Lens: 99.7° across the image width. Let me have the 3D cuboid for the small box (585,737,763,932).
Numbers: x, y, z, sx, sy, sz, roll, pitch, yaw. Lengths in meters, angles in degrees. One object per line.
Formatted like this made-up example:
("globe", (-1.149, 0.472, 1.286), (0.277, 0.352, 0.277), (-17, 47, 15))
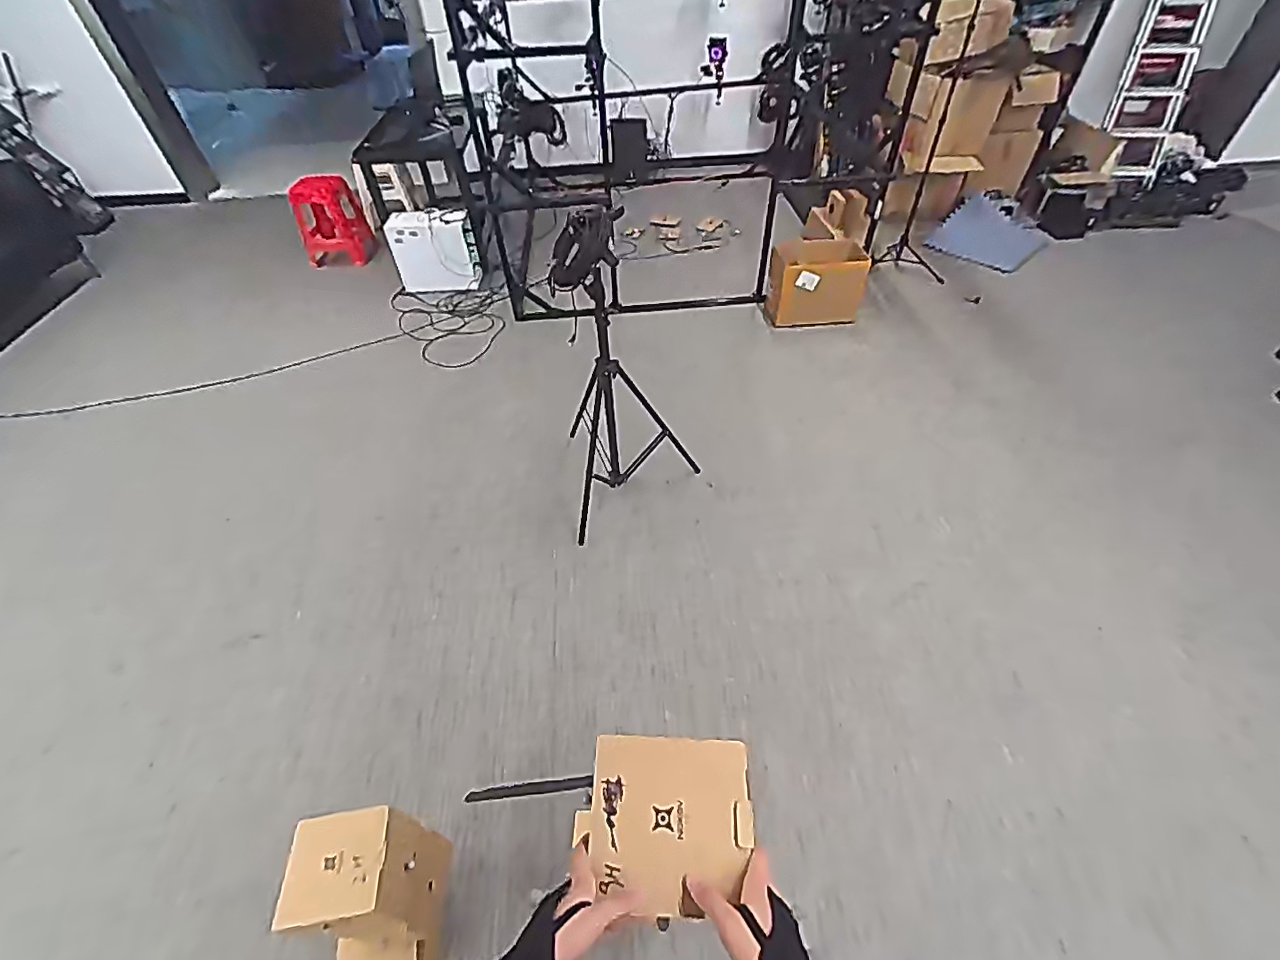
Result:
("small box", (0.034, 0.411, 0.632), (0.179, 0.176, 0.168), (3, 53, 0))

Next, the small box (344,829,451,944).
("small box", (-0.512, 0.853, 1.133), (0.168, 0.176, 0.179), (-3, 47, 2))

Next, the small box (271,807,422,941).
("small box", (-0.535, 0.741, 1.014), (0.179, 0.176, 0.168), (-8, 46, -4))

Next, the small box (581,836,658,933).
("small box", (-0.039, 0.935, 1.255), (0.179, 0.176, 0.168), (-4, 47, -2))
